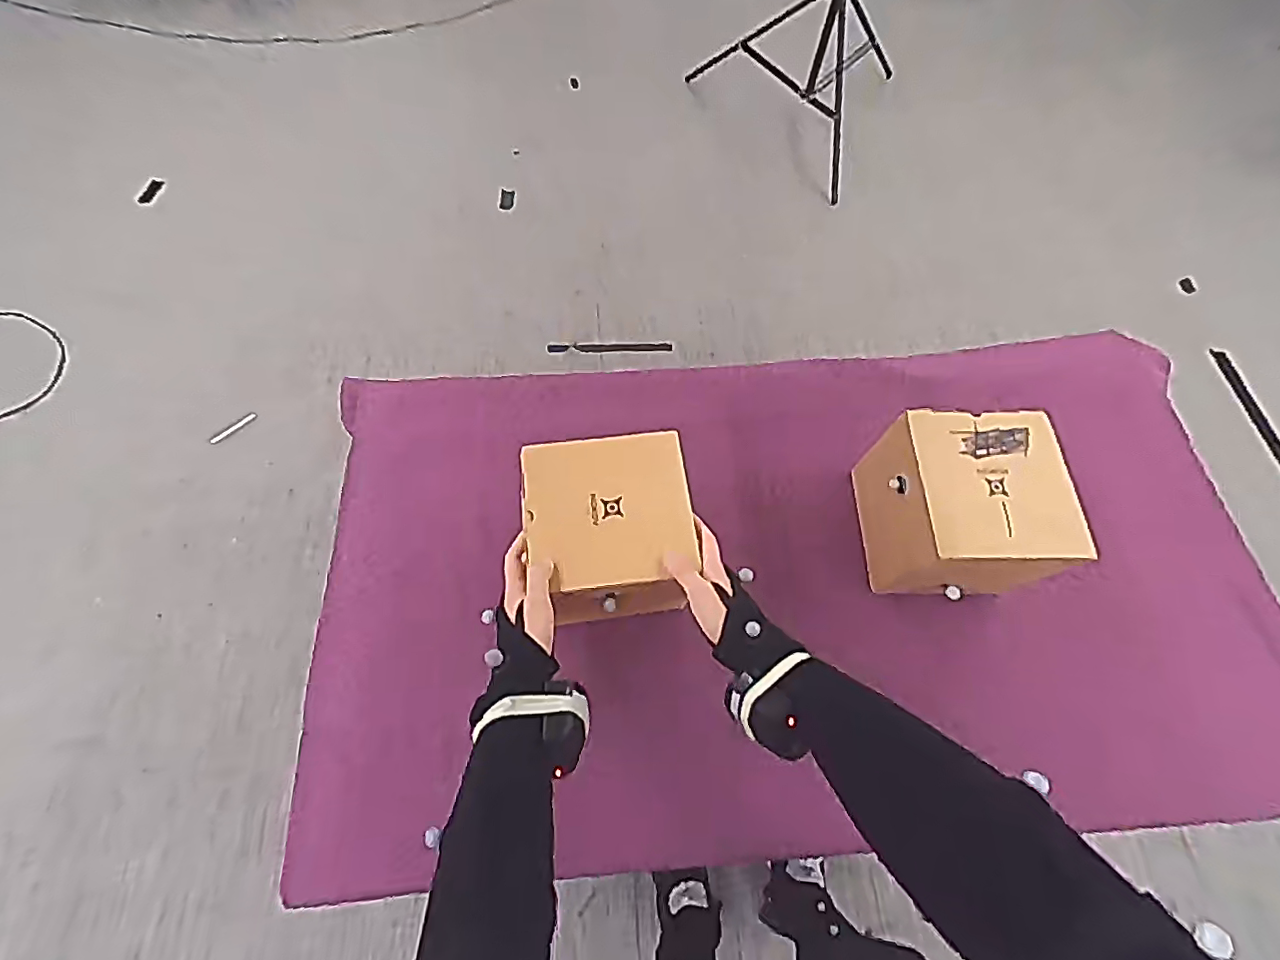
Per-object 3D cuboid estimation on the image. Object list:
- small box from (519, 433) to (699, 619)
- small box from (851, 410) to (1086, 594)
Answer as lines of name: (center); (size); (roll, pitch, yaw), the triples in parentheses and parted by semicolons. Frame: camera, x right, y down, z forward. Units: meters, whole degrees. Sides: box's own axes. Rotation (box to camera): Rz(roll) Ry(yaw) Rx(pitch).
small box: (-0.039, 0.061, 0.637); (0.179, 0.176, 0.168); (-7, 67, -4)
small box: (0.375, 0.033, 0.659); (0.168, 0.176, 0.179); (1, 67, -1)
